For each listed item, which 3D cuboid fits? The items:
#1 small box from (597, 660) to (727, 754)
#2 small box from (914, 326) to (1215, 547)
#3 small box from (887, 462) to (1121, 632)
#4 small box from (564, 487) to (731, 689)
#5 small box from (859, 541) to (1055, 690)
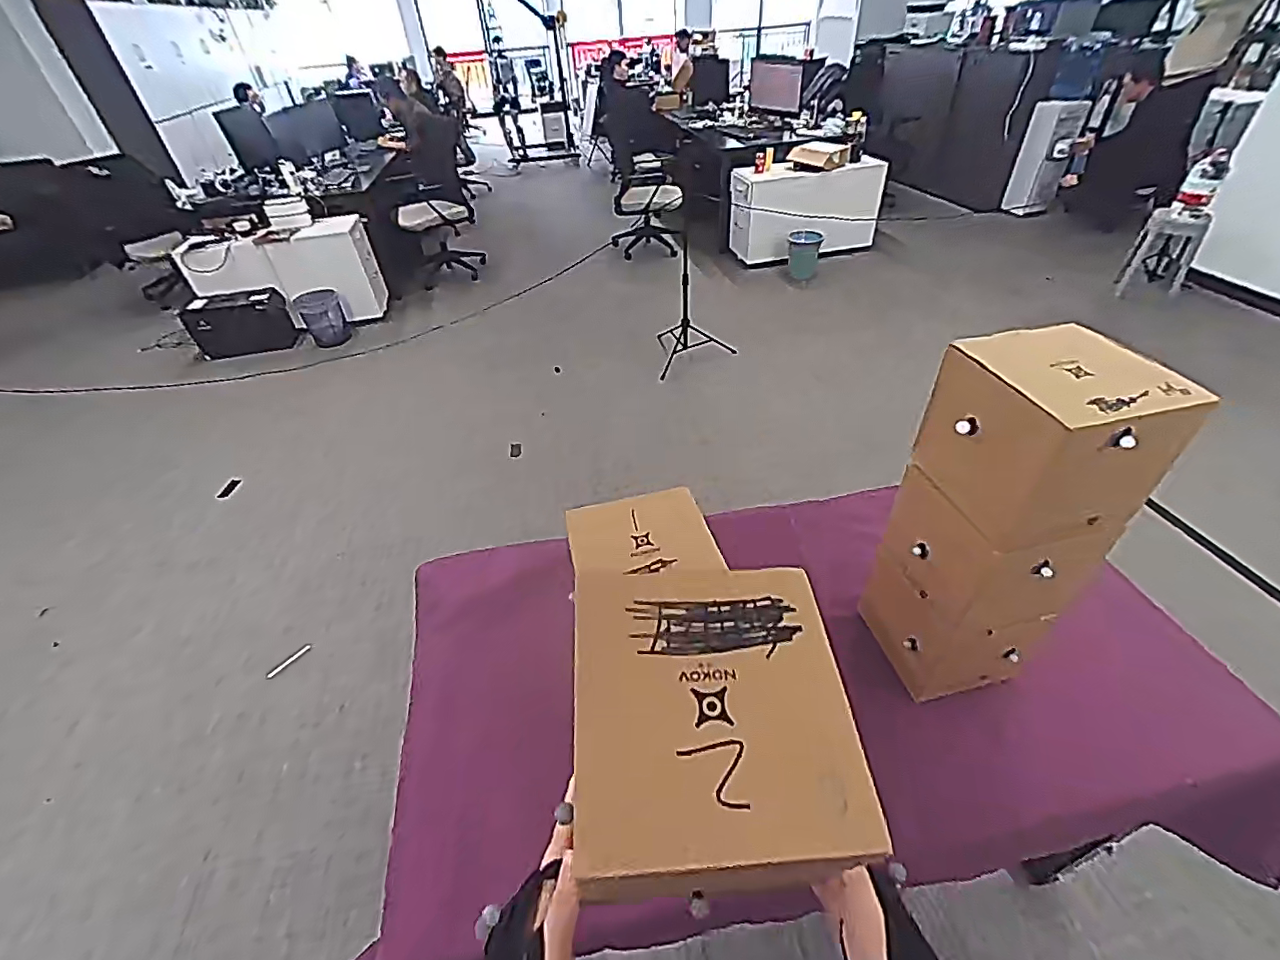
[{"bbox_3d":[0.017,0.264,0.789,0.168,0.176,0.179,-11,42,-7],"label":"small box"},{"bbox_3d":[0.444,-0.052,0.608,0.168,0.176,0.179,-11,41,-7],"label":"small box"},{"bbox_3d":[0.451,0.076,0.711,0.179,0.176,0.168,-11,42,-8],"label":"small box"},{"bbox_3d":[0.007,0.140,0.682,0.168,0.176,0.179,-12,41,-9],"label":"small box"},{"bbox_3d":[0.461,0.198,0.821,0.168,0.176,0.179,-10,41,-7],"label":"small box"}]
